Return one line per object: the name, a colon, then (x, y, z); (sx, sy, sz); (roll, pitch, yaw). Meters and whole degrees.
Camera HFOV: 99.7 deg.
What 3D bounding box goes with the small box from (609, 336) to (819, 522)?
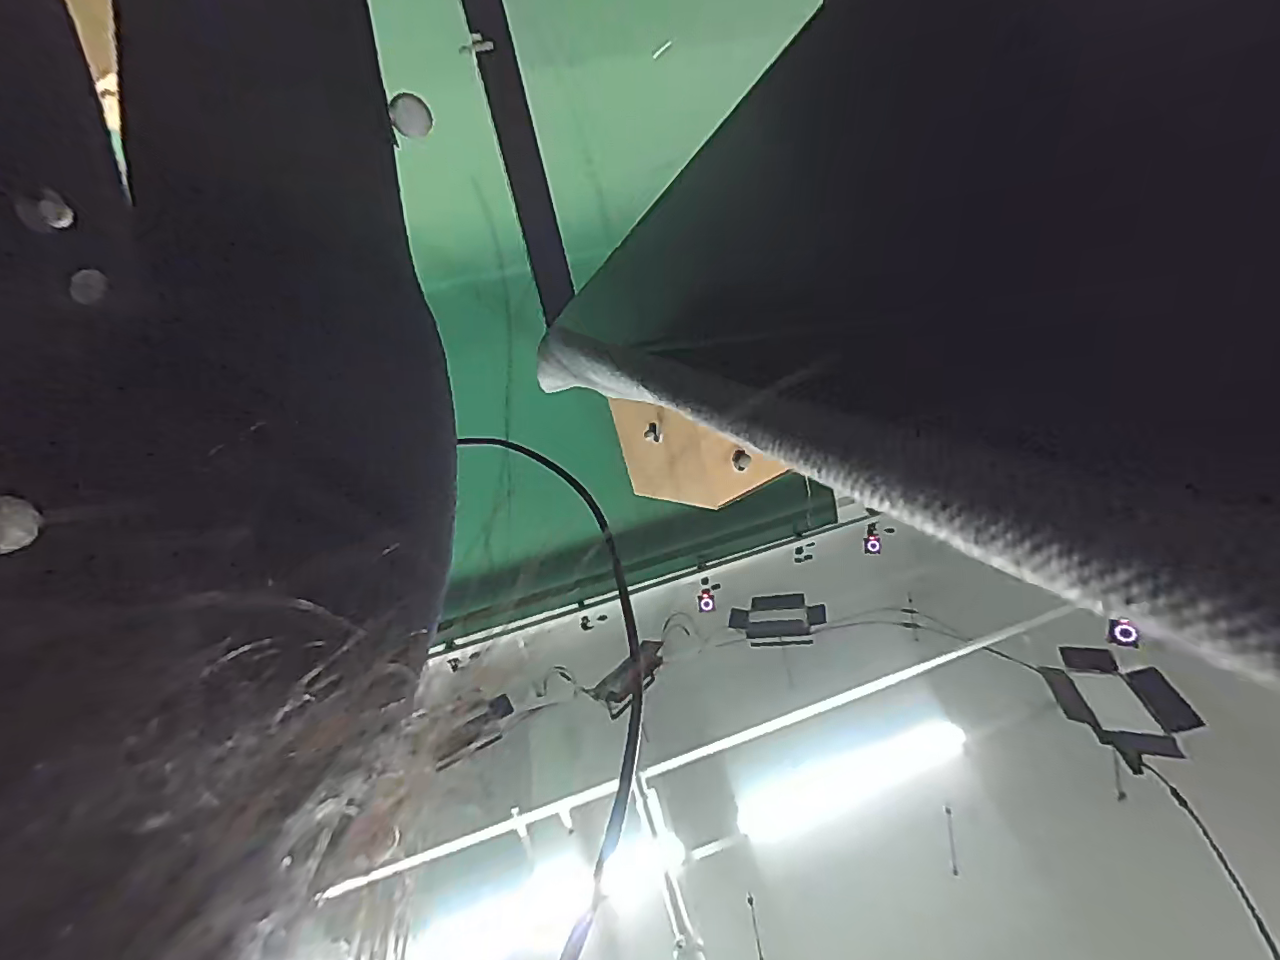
small box: (0.086, -0.066, 0.662); (0.179, 0.176, 0.168); (-24, -163, -29)
